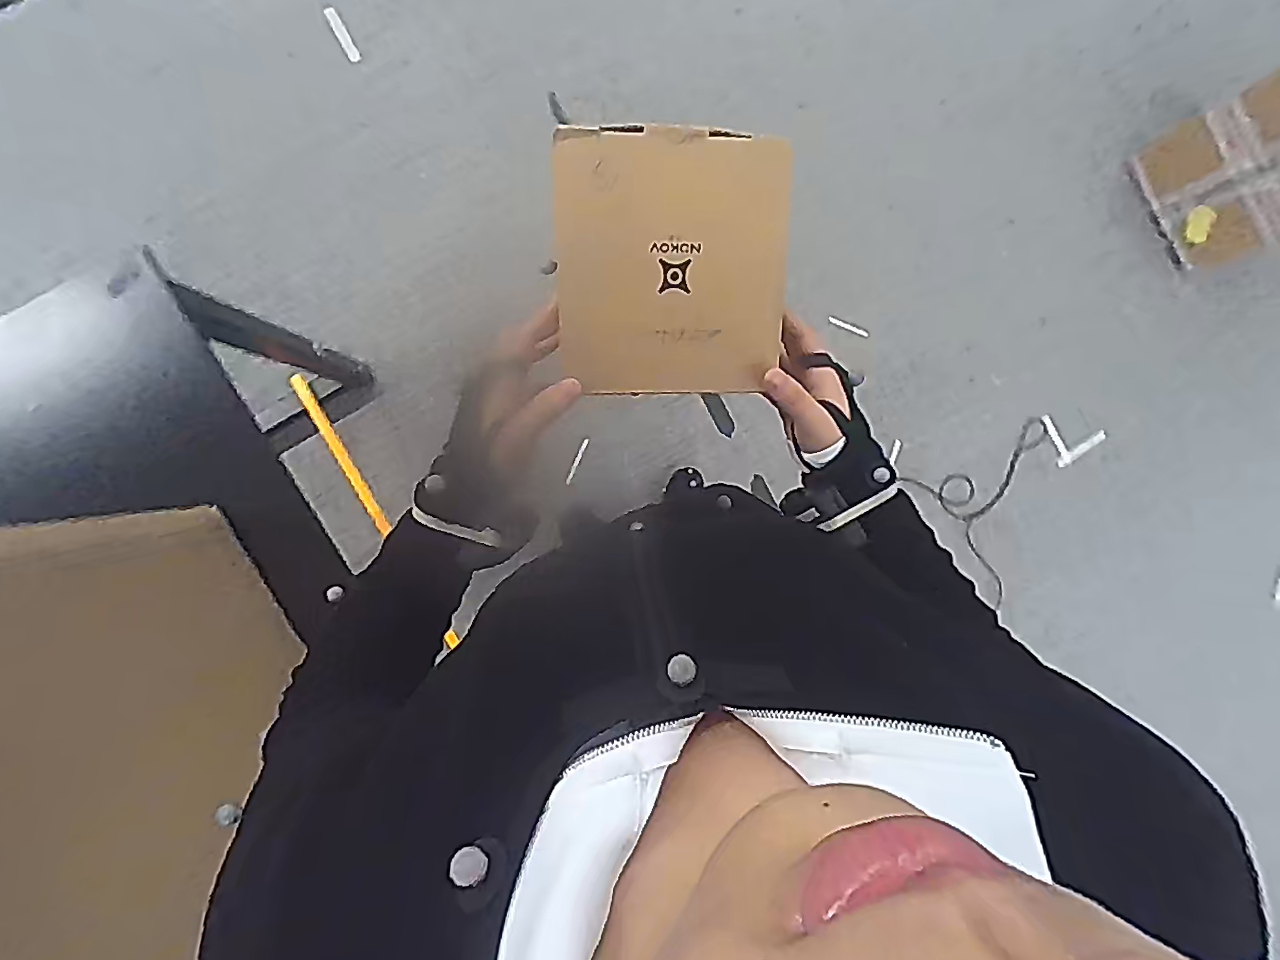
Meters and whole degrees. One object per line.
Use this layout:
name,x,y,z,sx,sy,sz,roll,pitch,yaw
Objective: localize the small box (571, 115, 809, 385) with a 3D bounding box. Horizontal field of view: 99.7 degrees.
small box,0.025,-0.178,0.460,0.168,0.176,0.179,-1,107,-6
